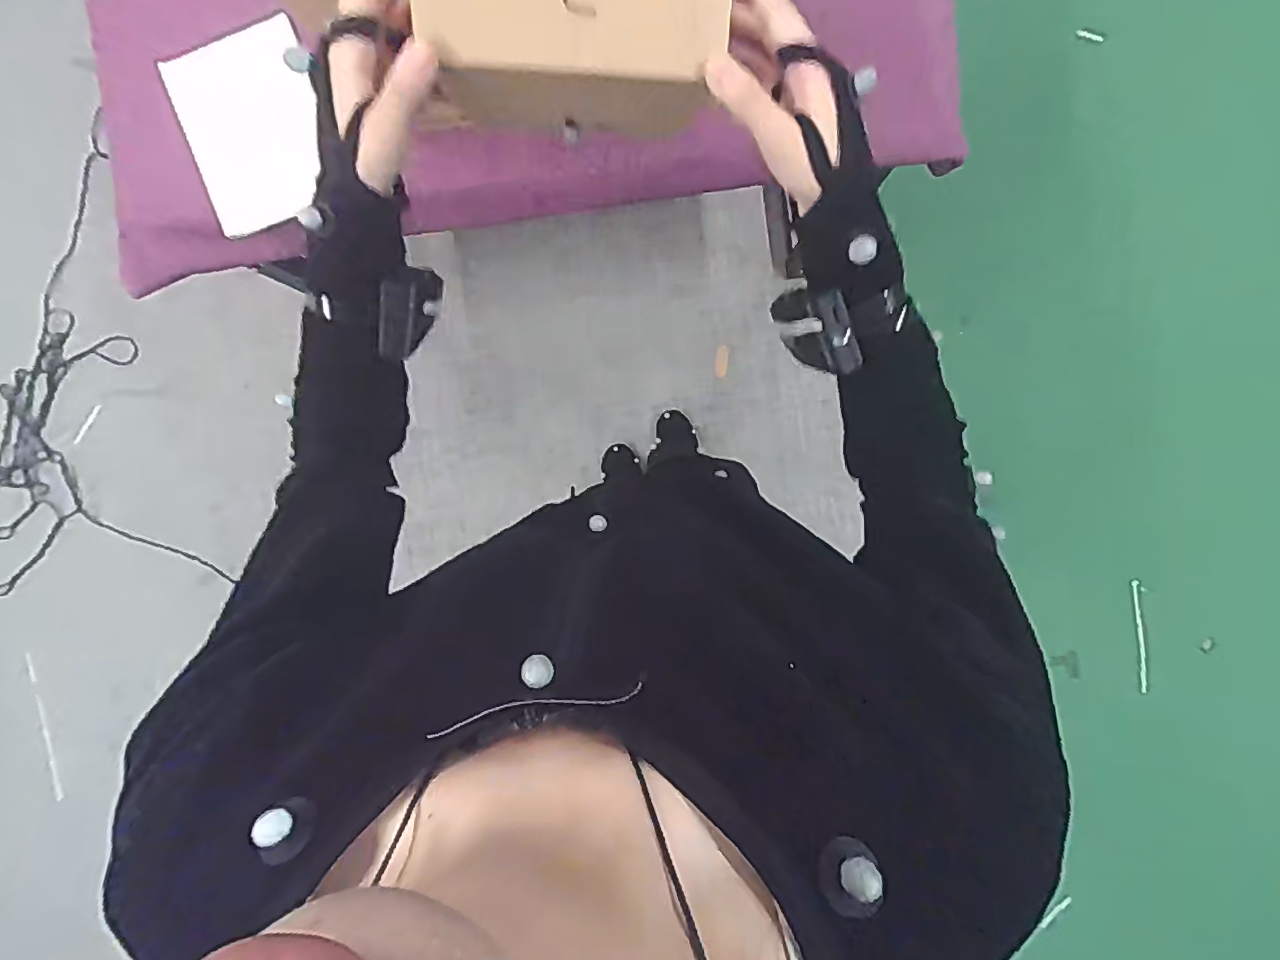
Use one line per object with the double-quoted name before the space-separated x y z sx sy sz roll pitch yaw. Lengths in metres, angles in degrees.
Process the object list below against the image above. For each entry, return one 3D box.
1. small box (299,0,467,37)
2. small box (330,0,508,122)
"small box" -0.280 -0.576 0.524 0.168 0.176 0.179 -6 92 2
"small box" -0.276 -0.590 0.688 0.168 0.176 0.179 -6 93 2
